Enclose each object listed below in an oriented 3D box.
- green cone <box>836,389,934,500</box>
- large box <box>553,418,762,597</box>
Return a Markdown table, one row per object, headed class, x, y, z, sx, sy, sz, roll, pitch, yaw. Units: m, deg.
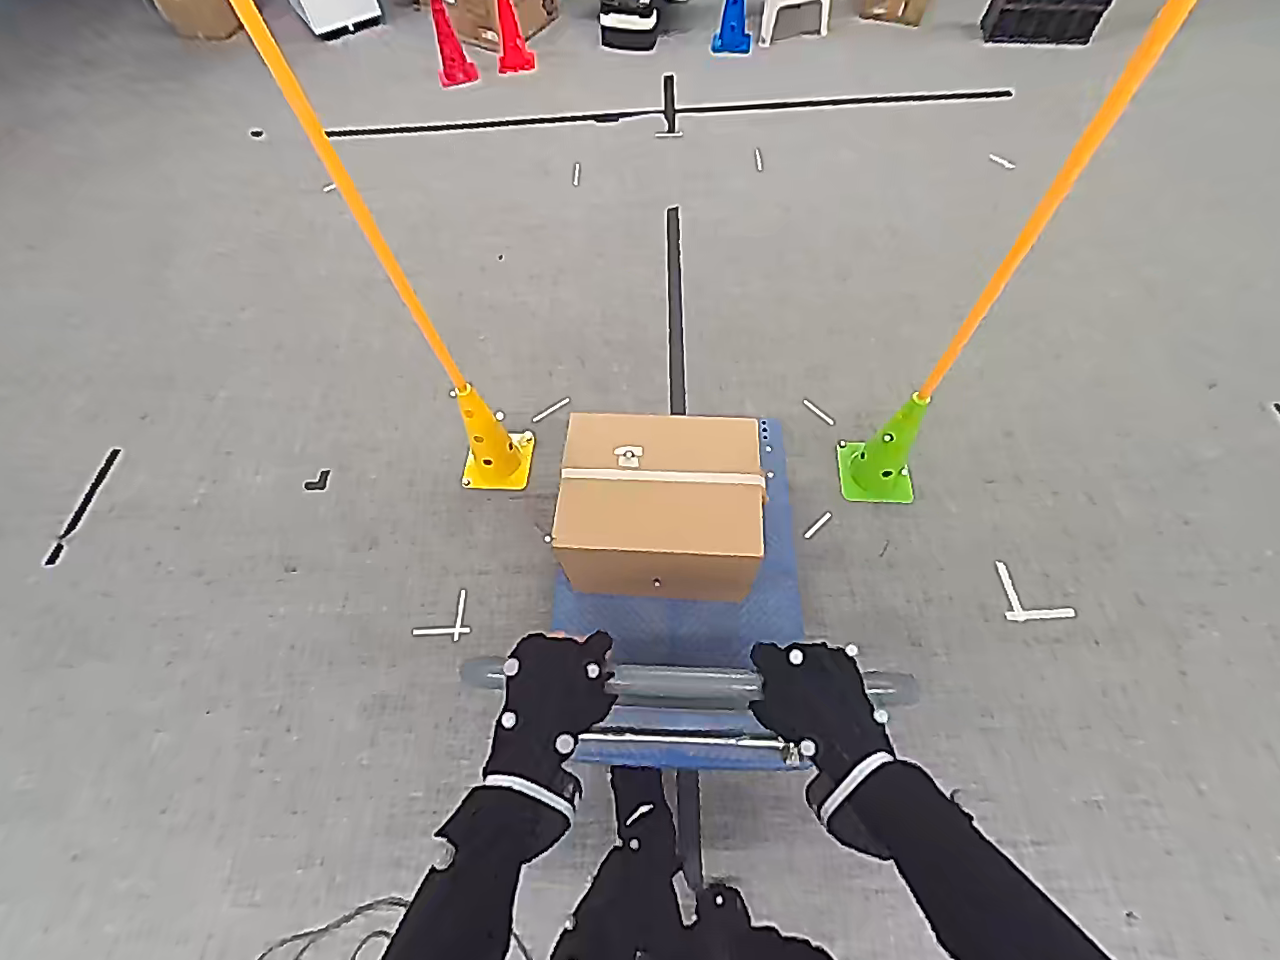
| class | x | y | z | sx | sy | sz | roll | pitch | yaw |
| --- | --- | --- | --- | --- | --- | --- | --- | --- | --- |
| green cone | 0.686 | -0.115 | 1.451 | 0.202 | 0.368 | 0.200 | 2 | 61 | 3 |
| large box | 0.049 | 0.071 | 1.223 | 0.408 | 0.320 | 0.320 | 2 | 61 | 5 |
